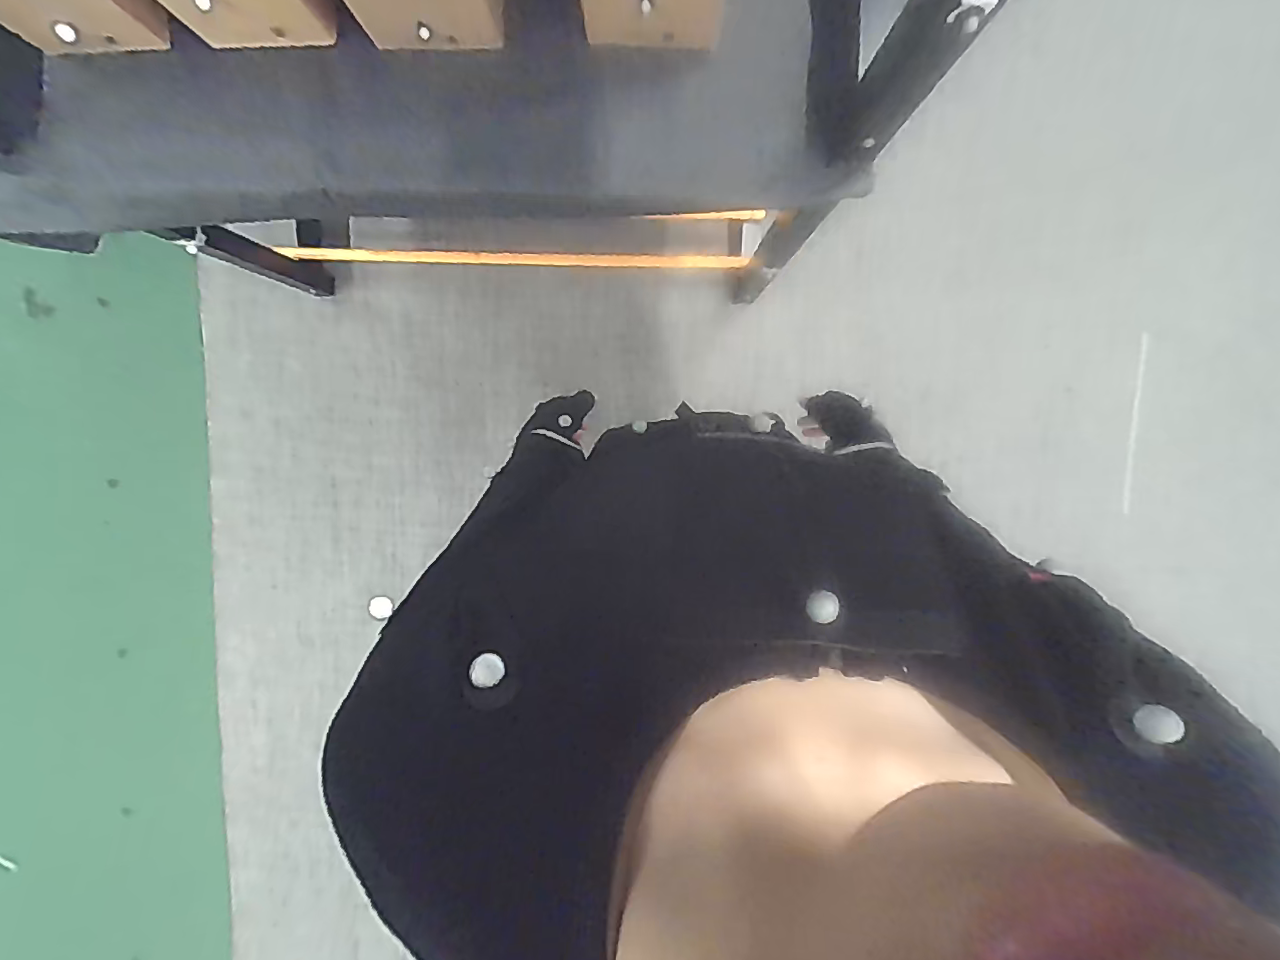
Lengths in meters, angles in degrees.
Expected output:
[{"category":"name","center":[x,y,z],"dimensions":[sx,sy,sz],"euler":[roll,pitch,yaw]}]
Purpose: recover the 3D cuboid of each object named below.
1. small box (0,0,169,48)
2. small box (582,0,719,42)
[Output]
[{"category":"small box","center":[-0.694,-0.644,0.617],"dimensions":[0.168,0.176,0.179],"euler":[-1,96,2]},{"category":"small box","center":[0.015,-0.634,0.599],"dimensions":[0.168,0.176,0.179],"euler":[4,96,0]}]
